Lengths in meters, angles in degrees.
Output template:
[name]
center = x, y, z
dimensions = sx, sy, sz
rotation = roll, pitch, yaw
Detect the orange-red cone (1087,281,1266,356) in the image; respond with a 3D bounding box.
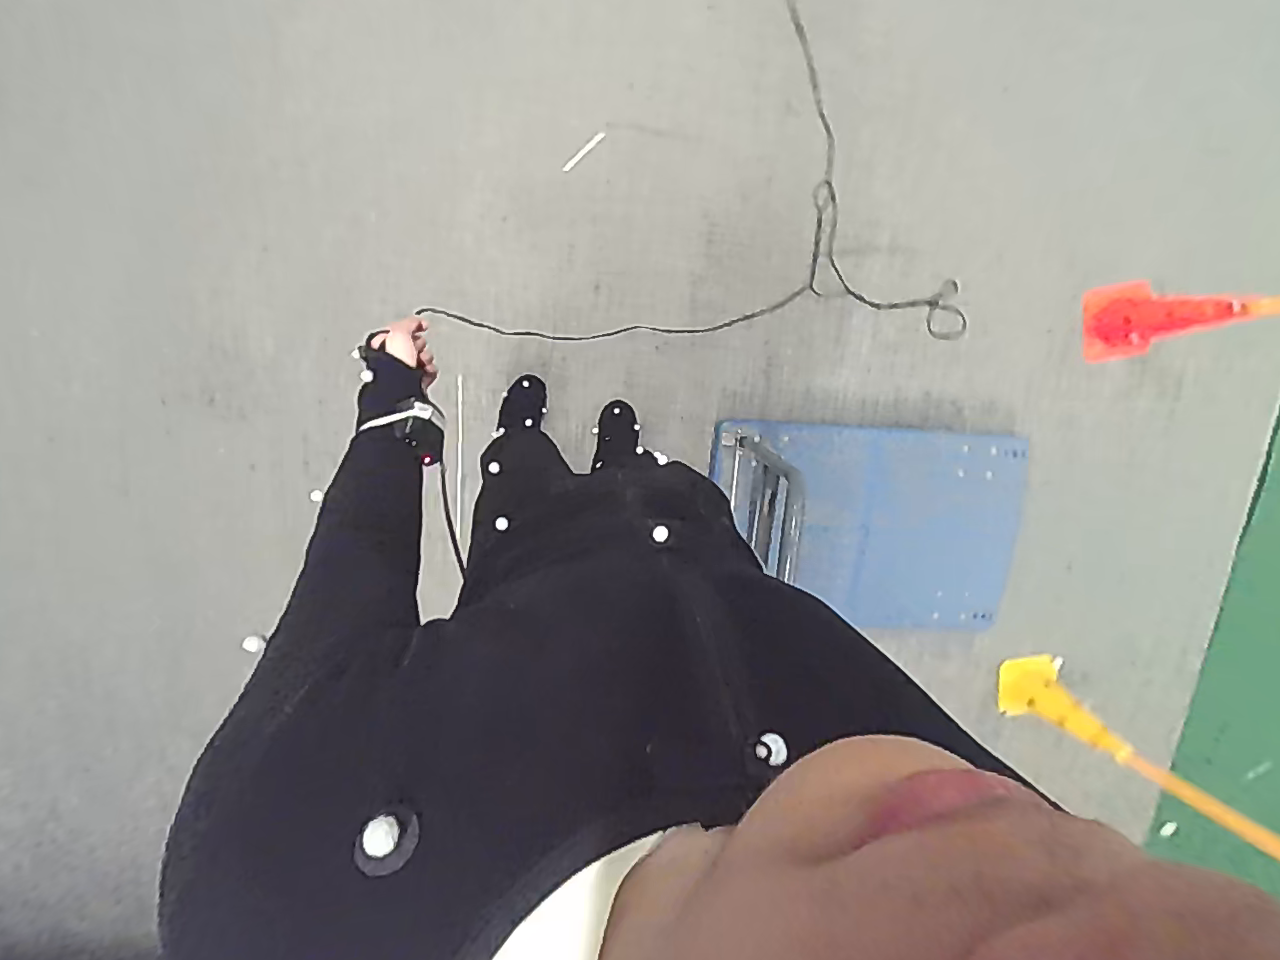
[orange-red cone]
center = 1.423, -0.445, 1.426
dimensions = 0.198, 0.360, 0.199
rotation = -10, 100, -2
